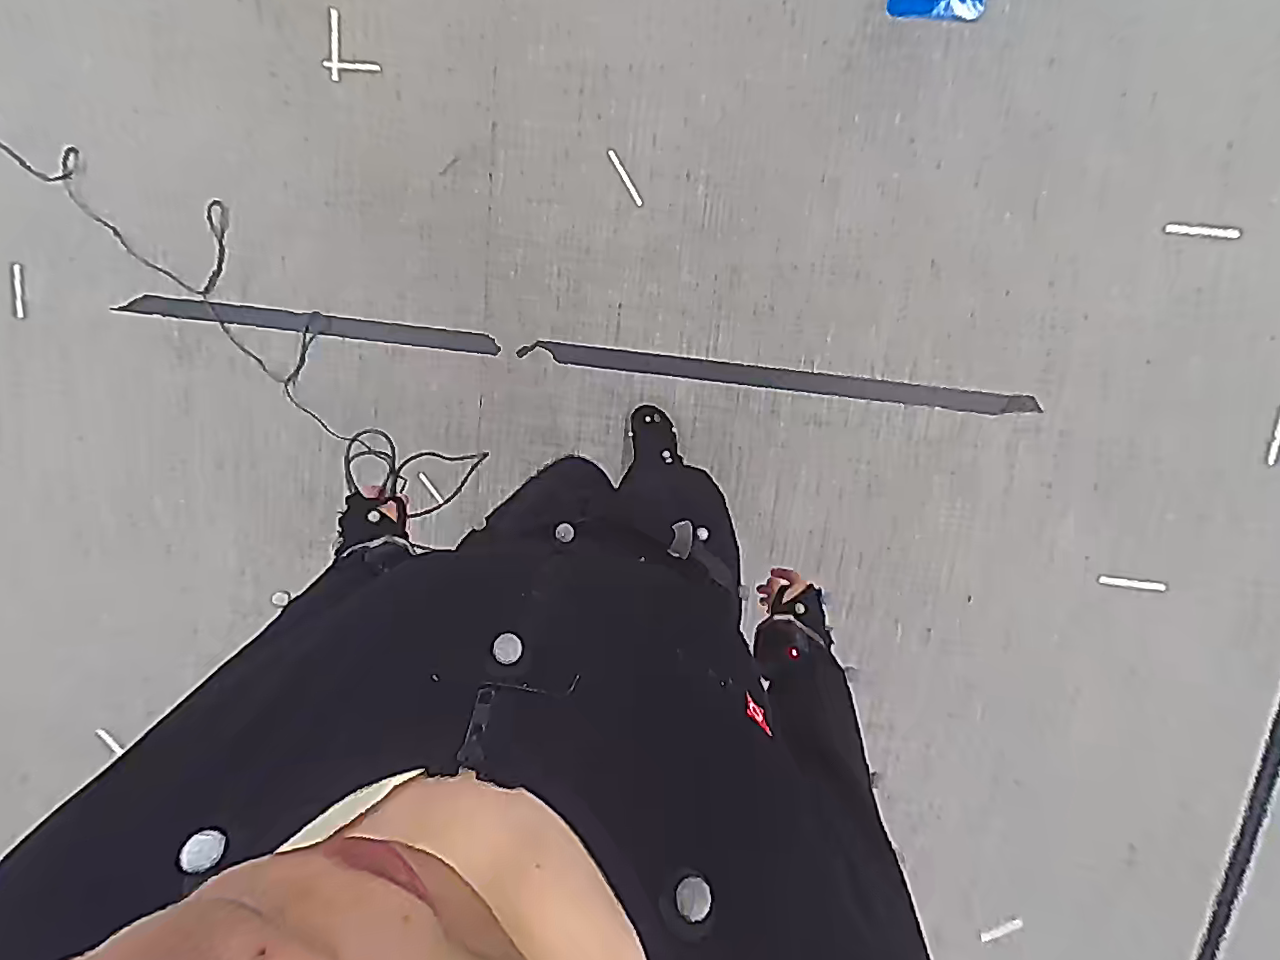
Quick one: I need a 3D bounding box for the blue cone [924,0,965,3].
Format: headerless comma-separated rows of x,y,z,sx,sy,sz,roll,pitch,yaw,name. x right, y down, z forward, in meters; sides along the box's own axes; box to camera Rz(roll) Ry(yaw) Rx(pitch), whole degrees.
0.609,-1.074,0.958,0.193,0.380,0.192,7,98,4,blue cone
